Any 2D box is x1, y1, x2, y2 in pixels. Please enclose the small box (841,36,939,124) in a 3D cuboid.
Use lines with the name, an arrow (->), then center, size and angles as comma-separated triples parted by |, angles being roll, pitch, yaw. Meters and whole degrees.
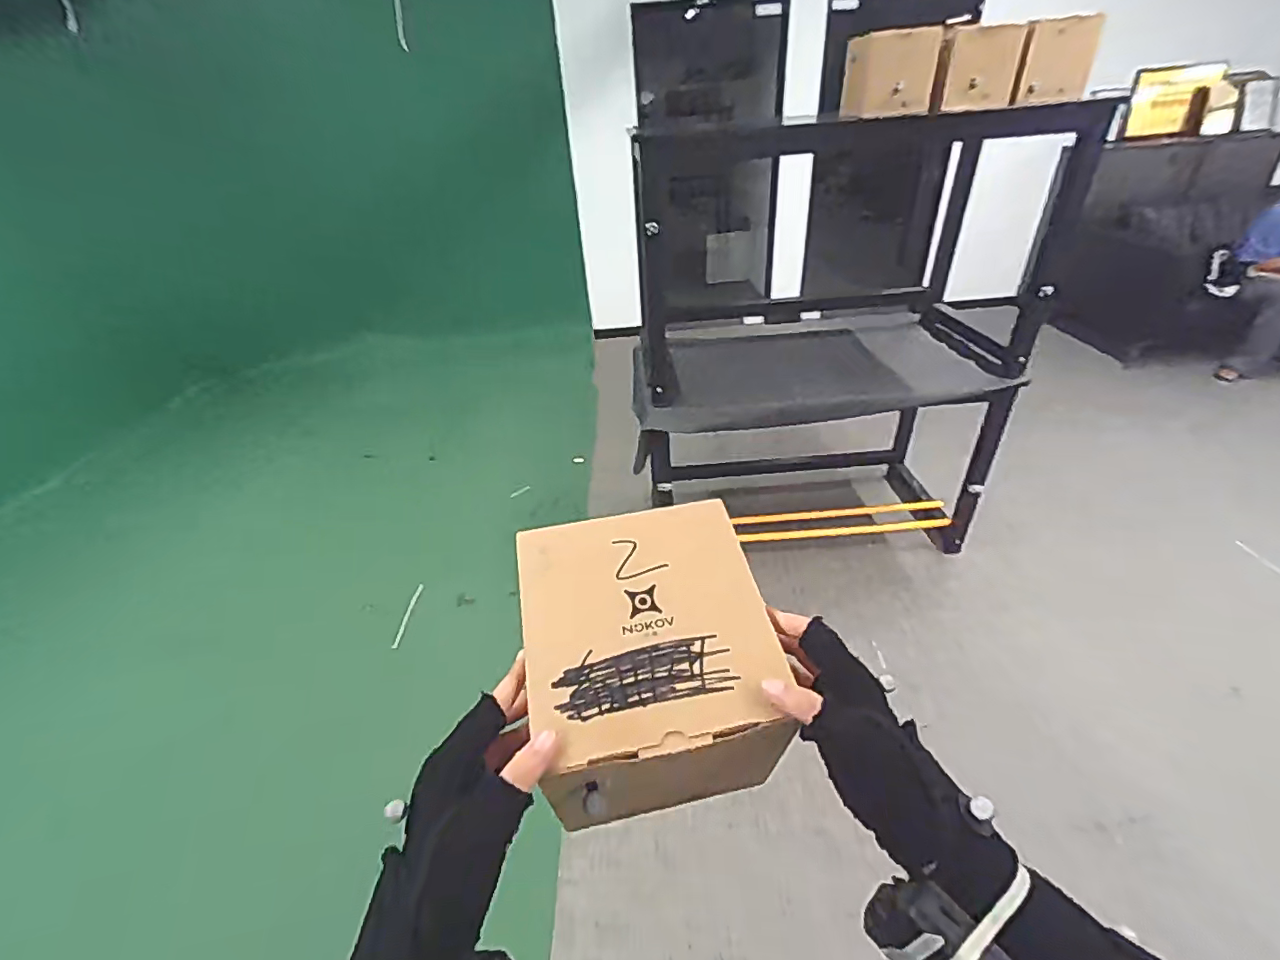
small box -> 0.632, -1.021, 1.393 | 0.168, 0.176, 0.179 | -3, 34, 2

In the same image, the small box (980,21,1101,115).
small box -> 1.013, -1.048, 1.386 | 0.168, 0.176, 0.179 | -3, 33, 3
